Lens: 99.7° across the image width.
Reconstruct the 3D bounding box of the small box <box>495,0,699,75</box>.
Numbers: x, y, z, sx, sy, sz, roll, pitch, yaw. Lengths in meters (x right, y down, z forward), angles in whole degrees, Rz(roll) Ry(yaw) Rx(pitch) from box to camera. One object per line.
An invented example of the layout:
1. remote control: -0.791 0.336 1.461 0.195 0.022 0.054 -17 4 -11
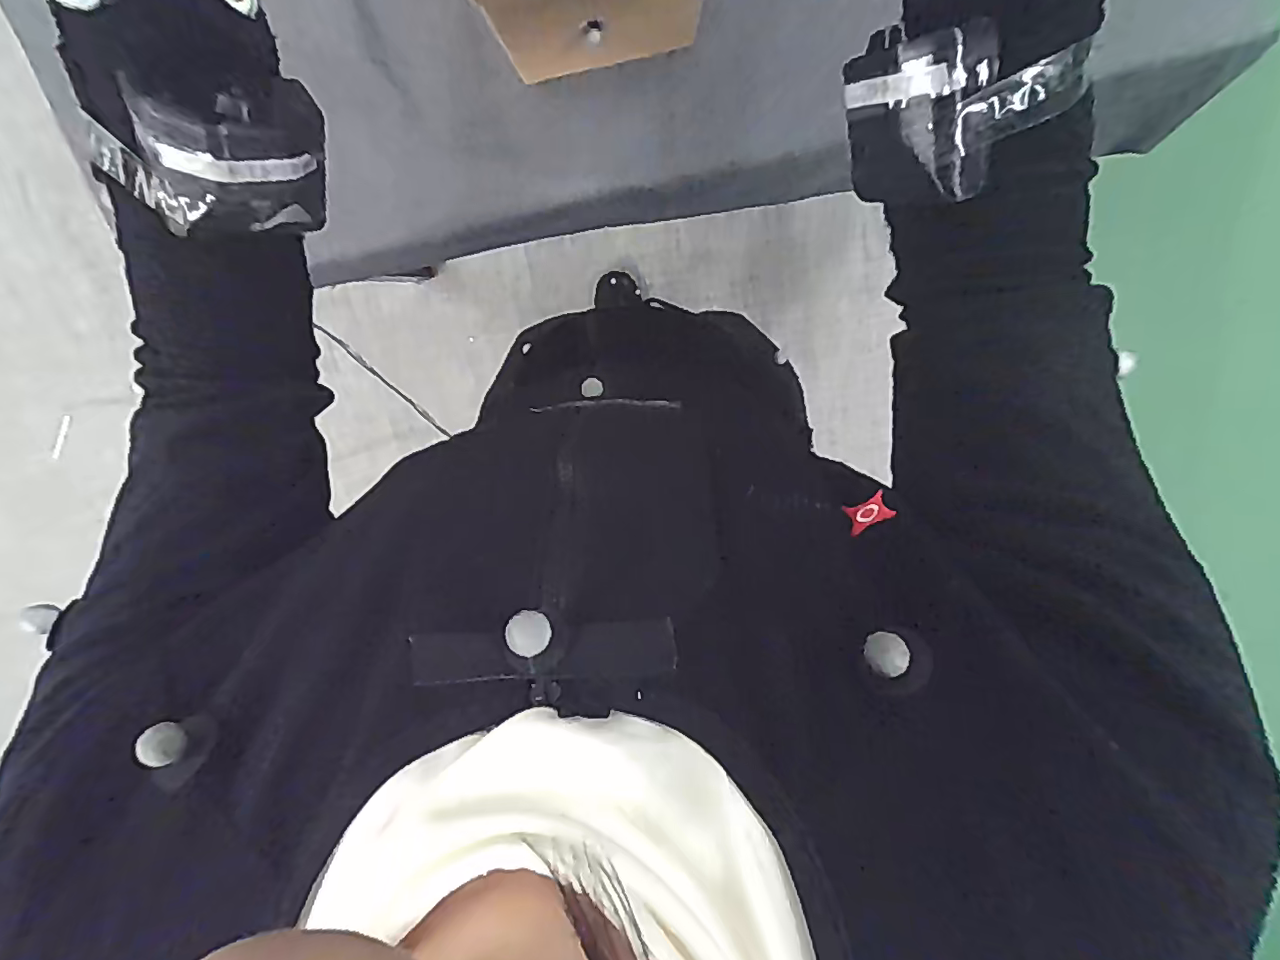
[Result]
1. small box: -0.044 -0.472 0.441 0.179 0.176 0.168 -14 109 4
